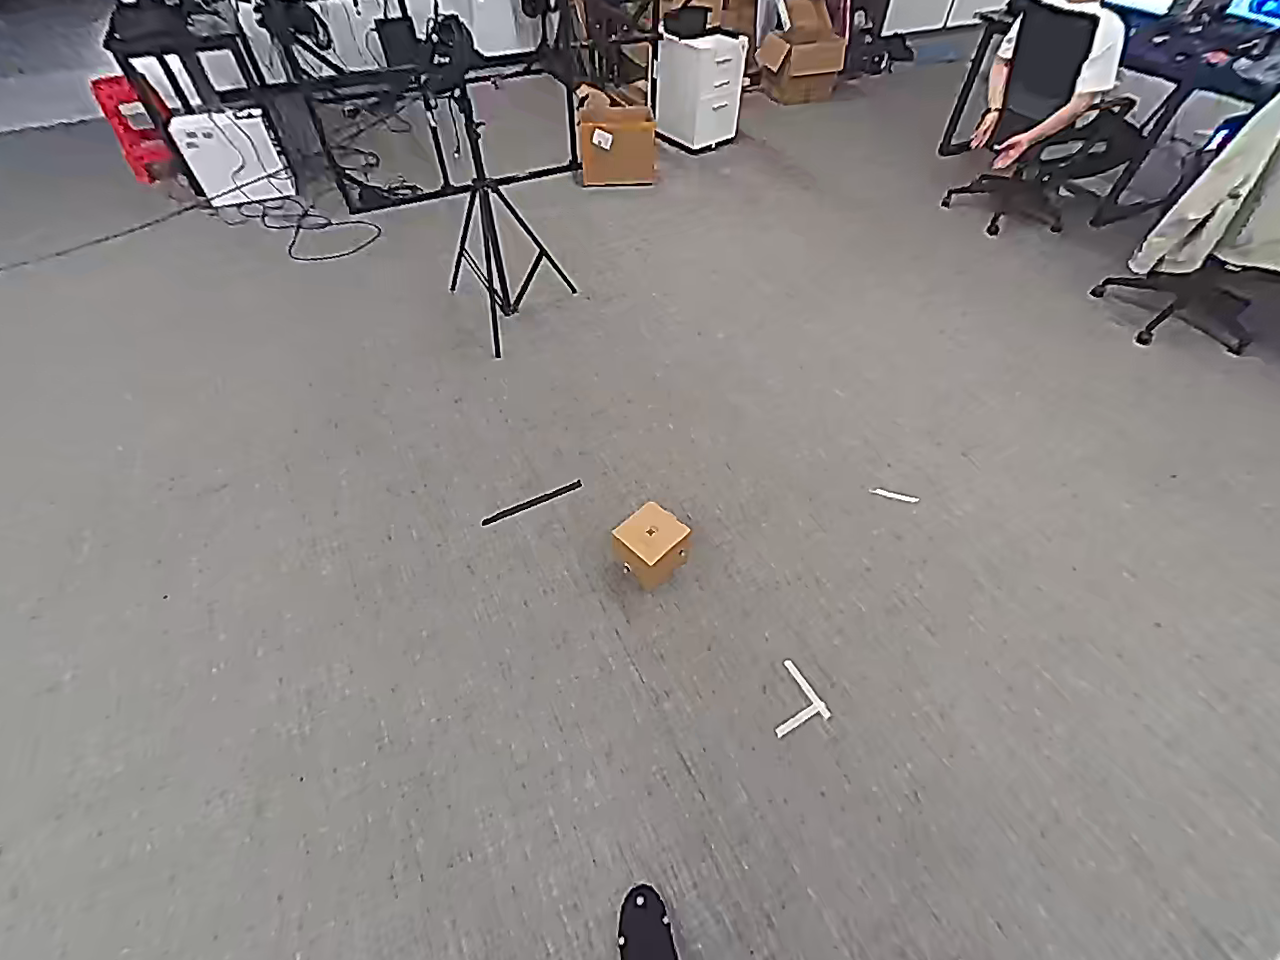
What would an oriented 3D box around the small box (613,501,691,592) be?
[{"bbox_3d":[0.033,0.206,1.652,0.168,0.176,0.179,36,60,27],"label":"small box"}]
